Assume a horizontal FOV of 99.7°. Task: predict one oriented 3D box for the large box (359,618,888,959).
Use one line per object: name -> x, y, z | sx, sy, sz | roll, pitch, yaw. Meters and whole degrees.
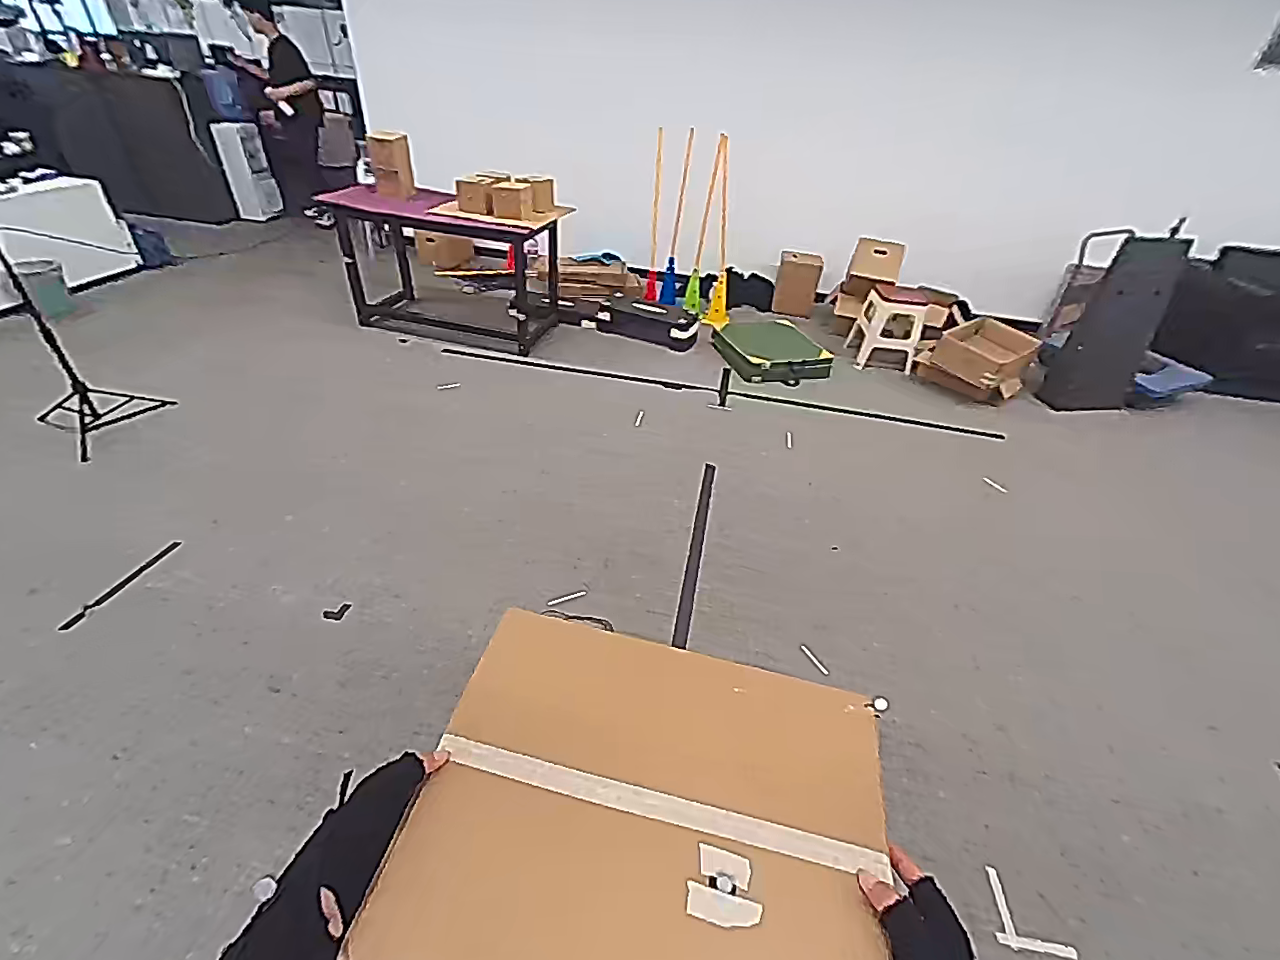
large box -> 0.001, 0.403, 0.586 | 0.408, 0.320, 0.320 | 13, 44, 7
